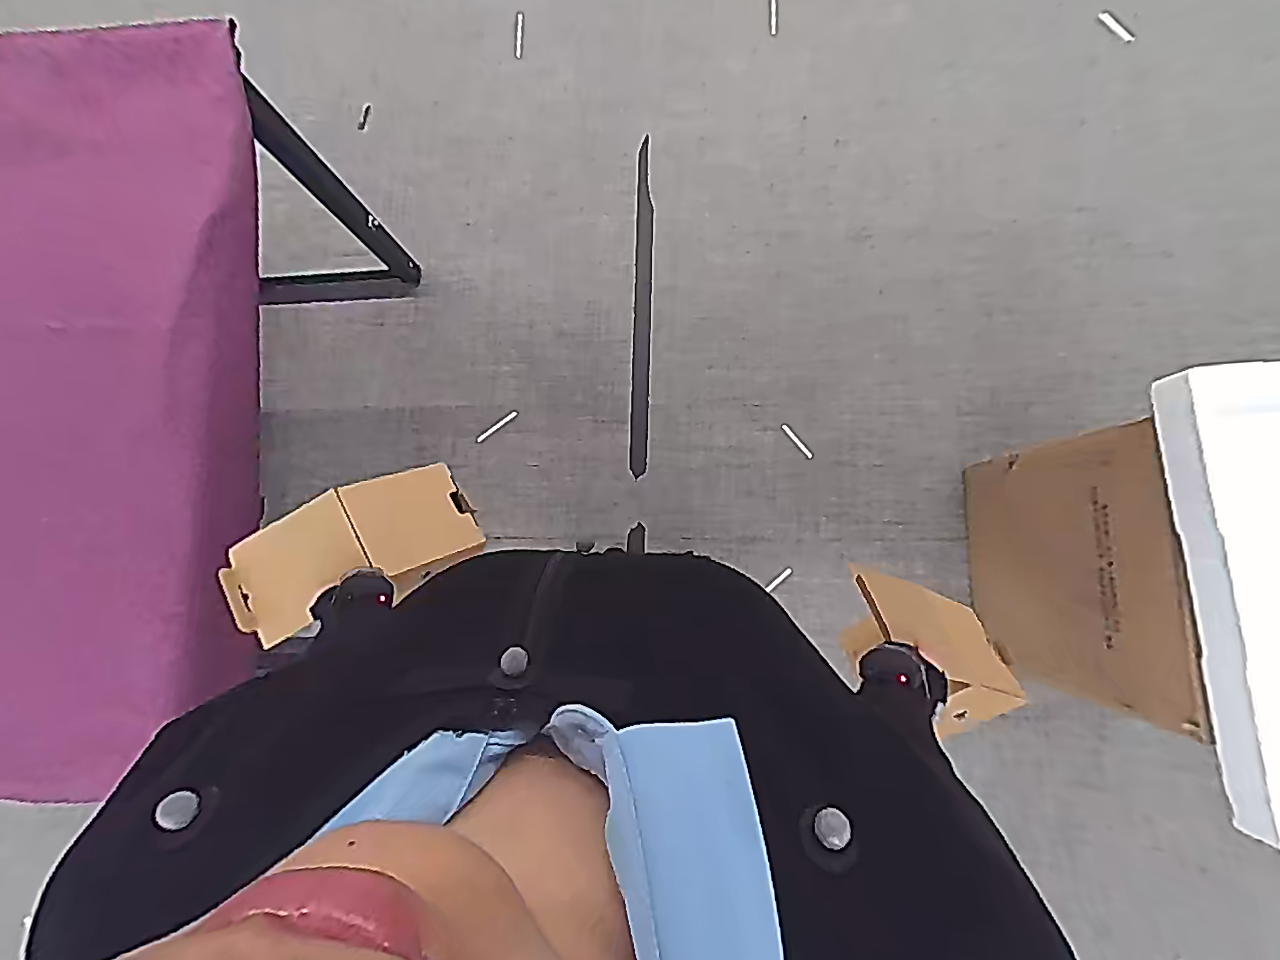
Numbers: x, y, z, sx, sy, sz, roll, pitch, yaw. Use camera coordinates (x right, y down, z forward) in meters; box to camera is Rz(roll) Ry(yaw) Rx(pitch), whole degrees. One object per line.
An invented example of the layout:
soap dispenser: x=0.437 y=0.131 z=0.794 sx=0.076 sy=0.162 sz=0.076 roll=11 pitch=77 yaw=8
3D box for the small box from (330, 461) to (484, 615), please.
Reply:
small box: x=-0.387 y=0.096 z=0.884 sx=0.179 sy=0.176 sz=0.168 roll=-19 pitch=70 yaw=-41
